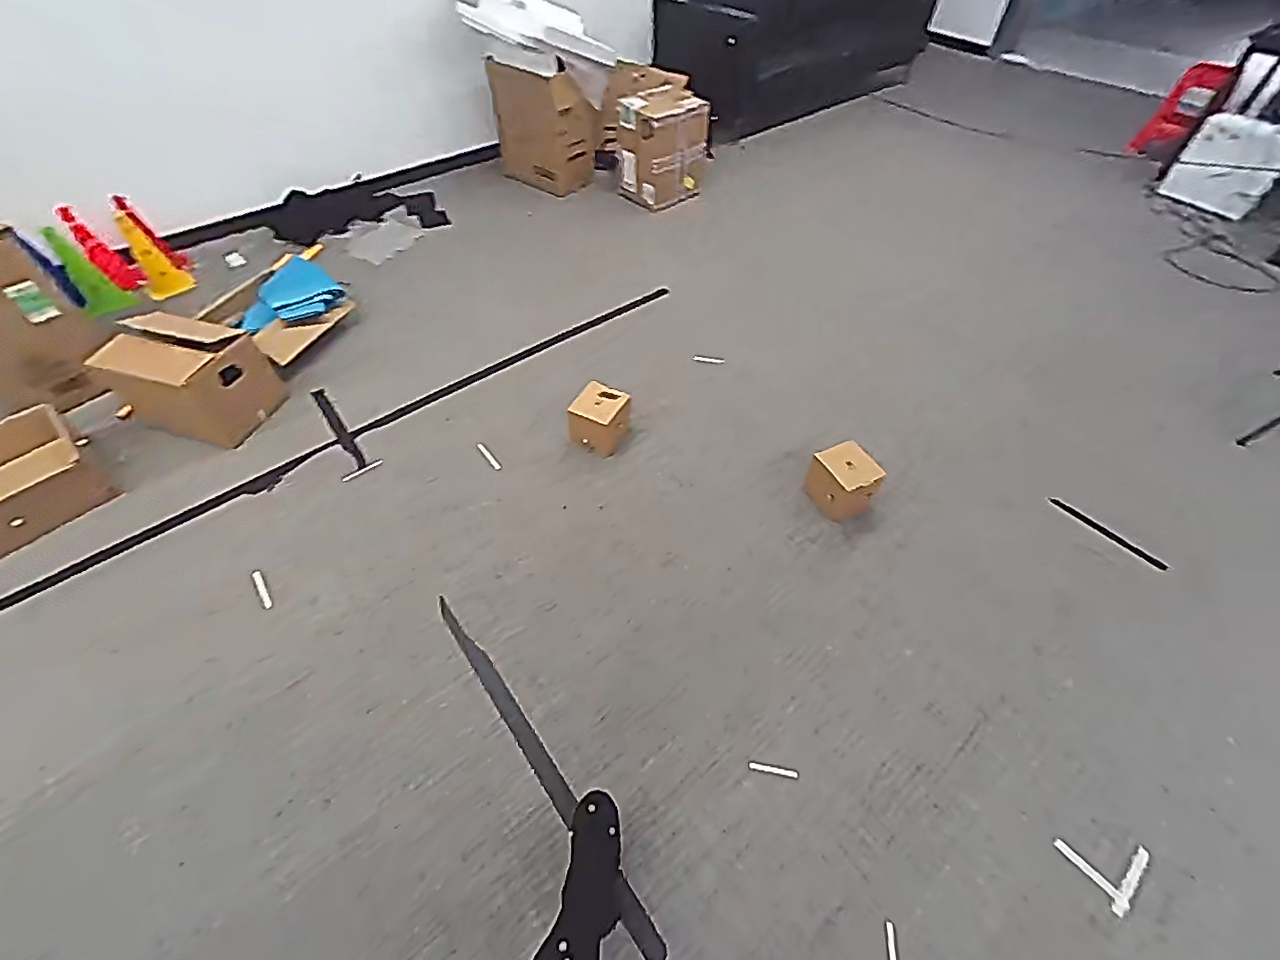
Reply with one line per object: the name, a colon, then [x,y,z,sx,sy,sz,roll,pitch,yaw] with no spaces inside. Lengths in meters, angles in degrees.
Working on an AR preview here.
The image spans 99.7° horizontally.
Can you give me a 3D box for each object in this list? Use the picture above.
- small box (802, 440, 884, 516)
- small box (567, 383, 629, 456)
small box: [0.677,0.000,1.821,0.168,0.176,0.179,-20,53,-18]
small box: [-0.150,-0.220,1.991,0.168,0.176,0.179,22,55,17]
